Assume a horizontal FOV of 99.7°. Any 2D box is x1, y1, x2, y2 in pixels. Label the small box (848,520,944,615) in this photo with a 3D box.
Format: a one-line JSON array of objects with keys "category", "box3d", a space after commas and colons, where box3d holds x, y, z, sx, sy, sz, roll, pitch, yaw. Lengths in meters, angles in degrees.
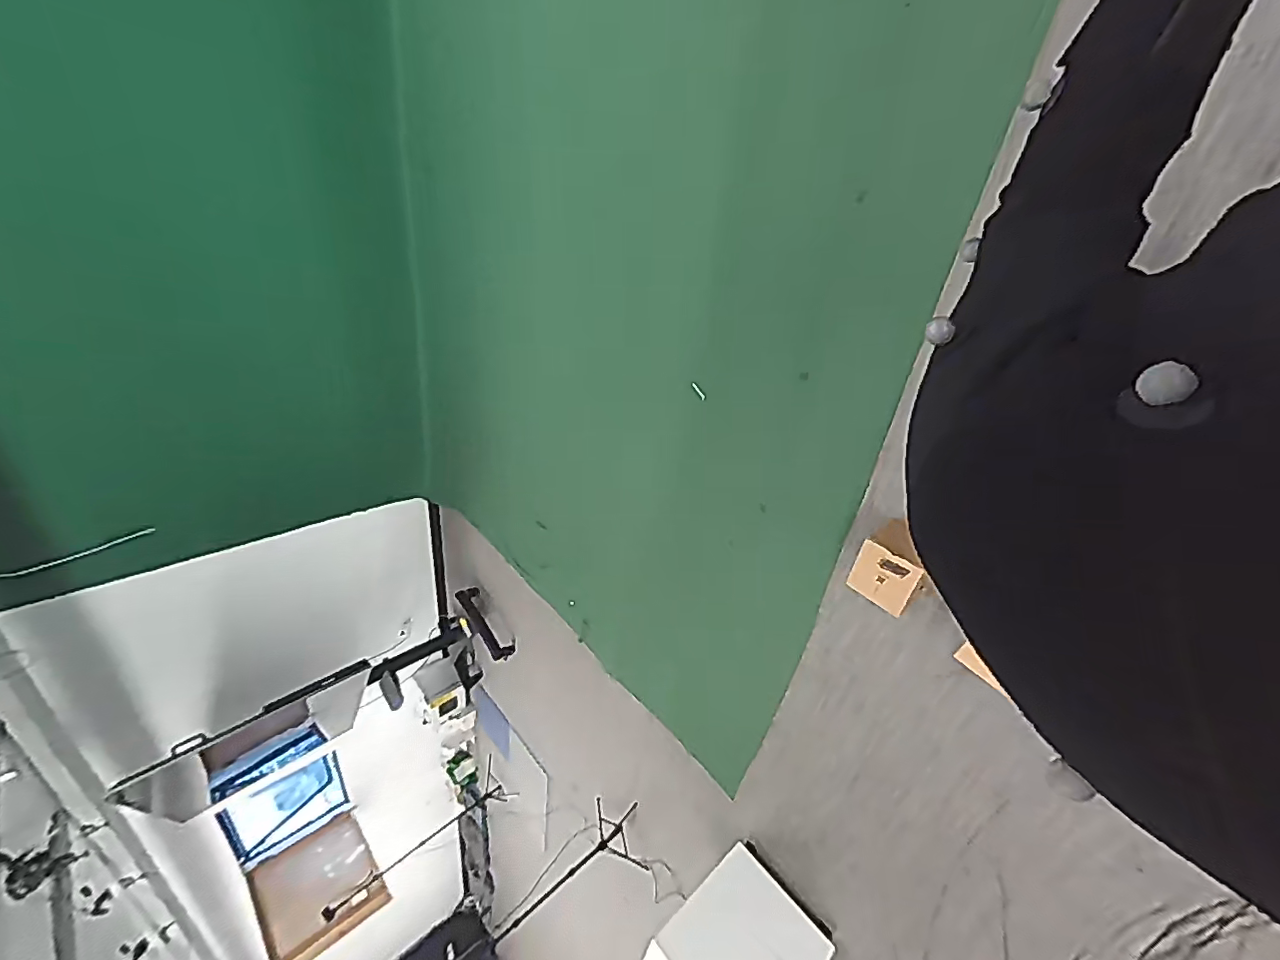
[{"category": "small box", "box3d": [0.723, 0.237, 1.518, 0.168, 0.176, 0.179, 35, 130, 35]}]
